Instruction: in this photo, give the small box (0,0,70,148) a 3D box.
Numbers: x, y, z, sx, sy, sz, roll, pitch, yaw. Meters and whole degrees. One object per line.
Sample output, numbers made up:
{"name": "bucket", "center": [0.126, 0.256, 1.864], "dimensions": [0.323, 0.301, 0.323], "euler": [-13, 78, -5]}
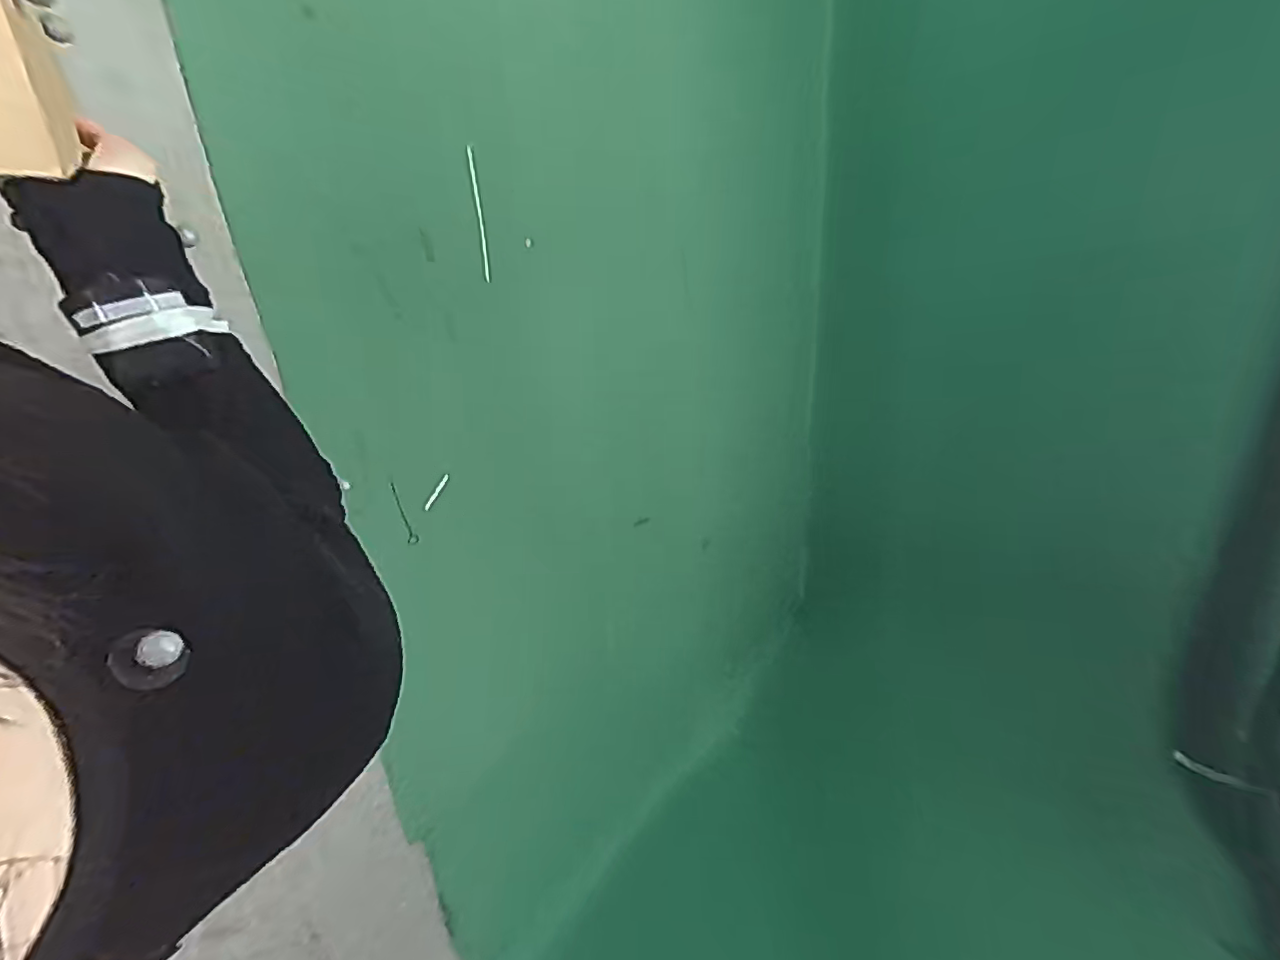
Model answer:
{"name": "small box", "center": [-0.491, -0.311, 0.324], "dimensions": [0.168, 0.176, 0.179], "euler": [-17, 127, -35]}
